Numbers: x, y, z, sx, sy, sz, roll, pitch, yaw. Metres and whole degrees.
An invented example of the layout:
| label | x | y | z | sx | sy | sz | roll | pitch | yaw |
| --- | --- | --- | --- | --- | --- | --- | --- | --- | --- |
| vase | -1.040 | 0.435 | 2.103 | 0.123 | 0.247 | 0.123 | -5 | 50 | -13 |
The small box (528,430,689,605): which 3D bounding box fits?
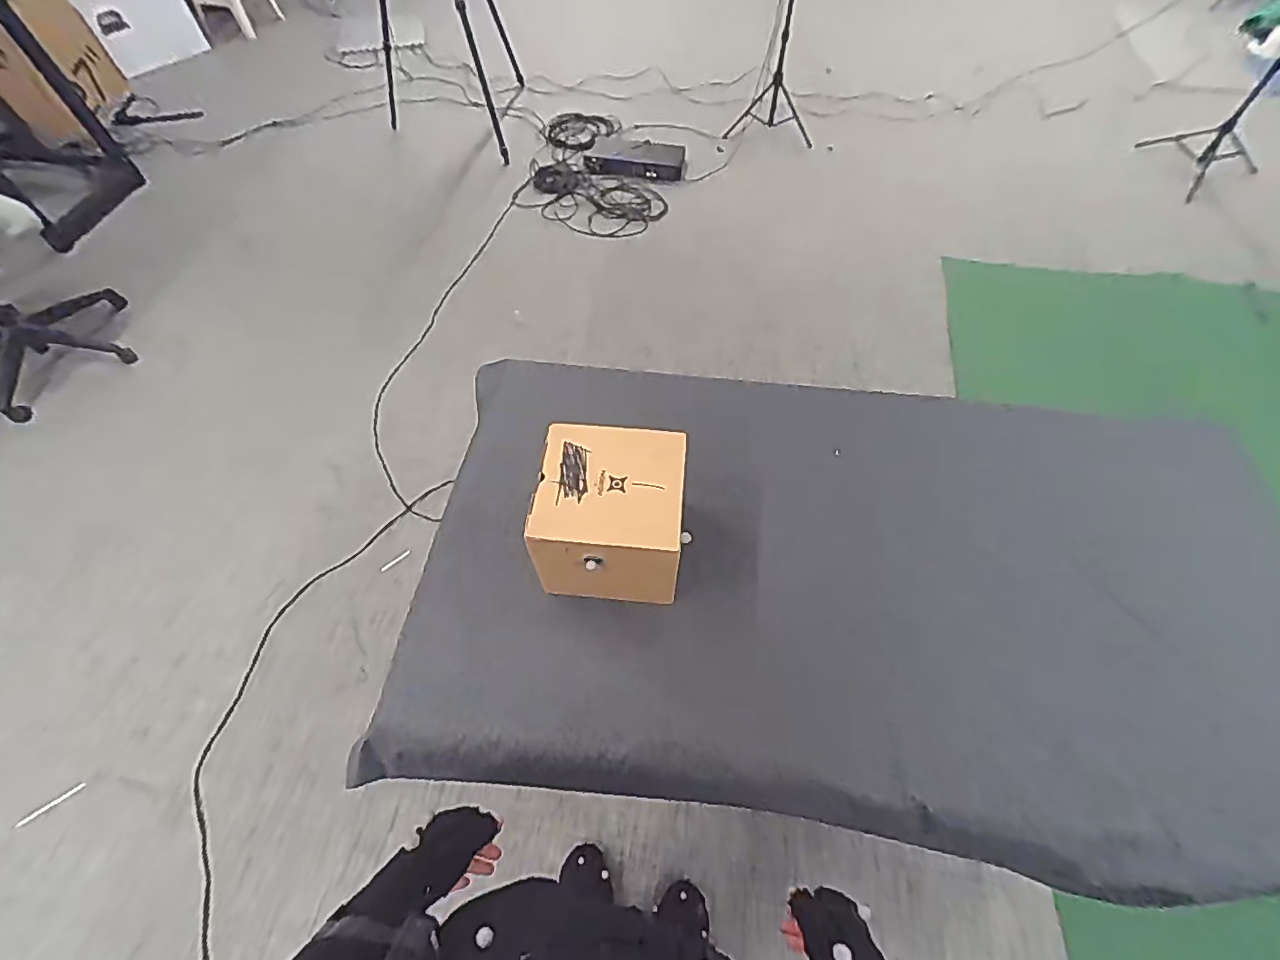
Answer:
| label | x | y | z | sx | sy | sz | roll | pitch | yaw |
| --- | --- | --- | --- | --- | --- | --- | --- | --- | --- |
| small box | -0.032 | 0.054 | 0.712 | 0.179 | 0.176 | 0.168 | 5 | 58 | 3 |
